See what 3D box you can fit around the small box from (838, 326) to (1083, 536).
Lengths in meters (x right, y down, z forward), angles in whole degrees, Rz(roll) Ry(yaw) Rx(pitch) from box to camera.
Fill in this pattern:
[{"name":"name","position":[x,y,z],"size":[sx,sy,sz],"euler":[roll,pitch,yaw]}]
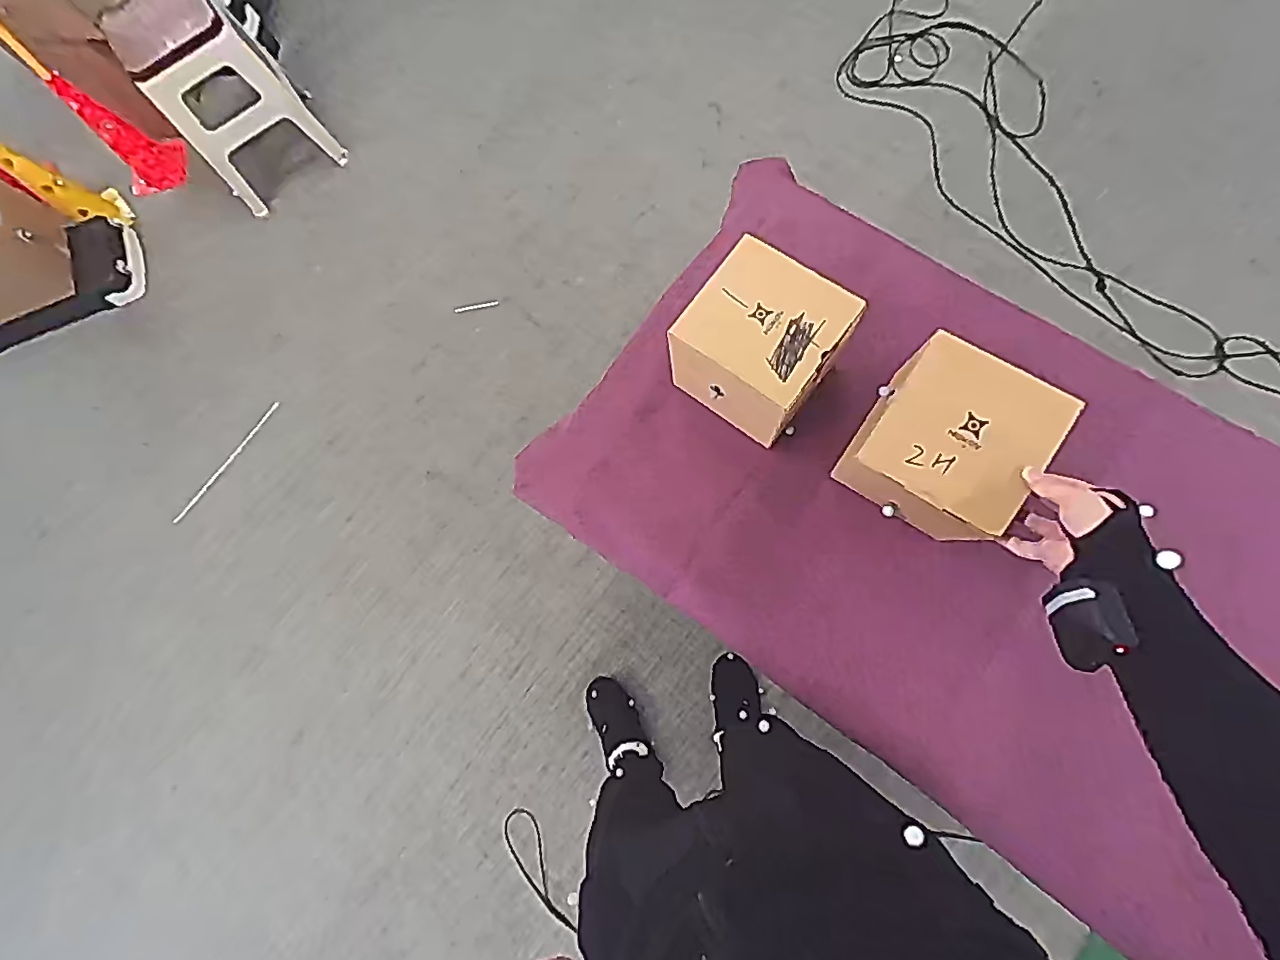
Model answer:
[{"name":"small box","position":[0.365,-0.049,0.658],"size":[0.168,0.176,0.179],"euler":[33,91,12]}]

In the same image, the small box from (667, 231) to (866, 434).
[{"name":"small box","position":[0.157,-0.179,0.717],"size":[0.179,0.176,0.168],"euler":[37,84,13]}]
